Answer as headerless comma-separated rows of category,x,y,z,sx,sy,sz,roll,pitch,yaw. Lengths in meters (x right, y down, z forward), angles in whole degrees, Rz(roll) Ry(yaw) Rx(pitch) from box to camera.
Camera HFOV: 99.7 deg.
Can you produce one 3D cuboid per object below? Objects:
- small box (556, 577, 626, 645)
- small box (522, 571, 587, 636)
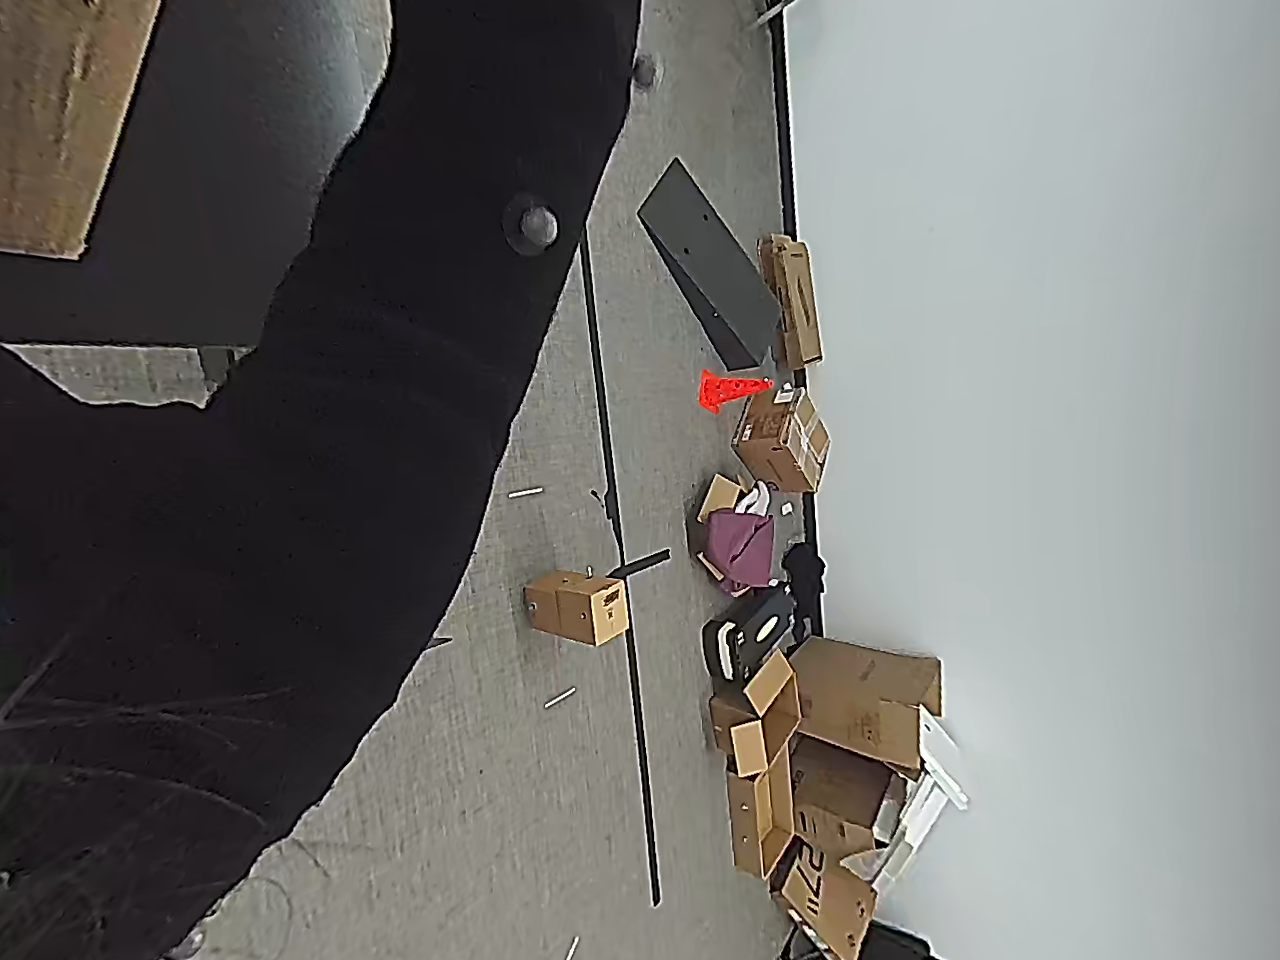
small box,-0.170,0.436,1.838,0.168,0.176,0.179,-14,101,-49
small box,-0.297,0.436,1.943,0.179,0.176,0.168,-20,105,-47
